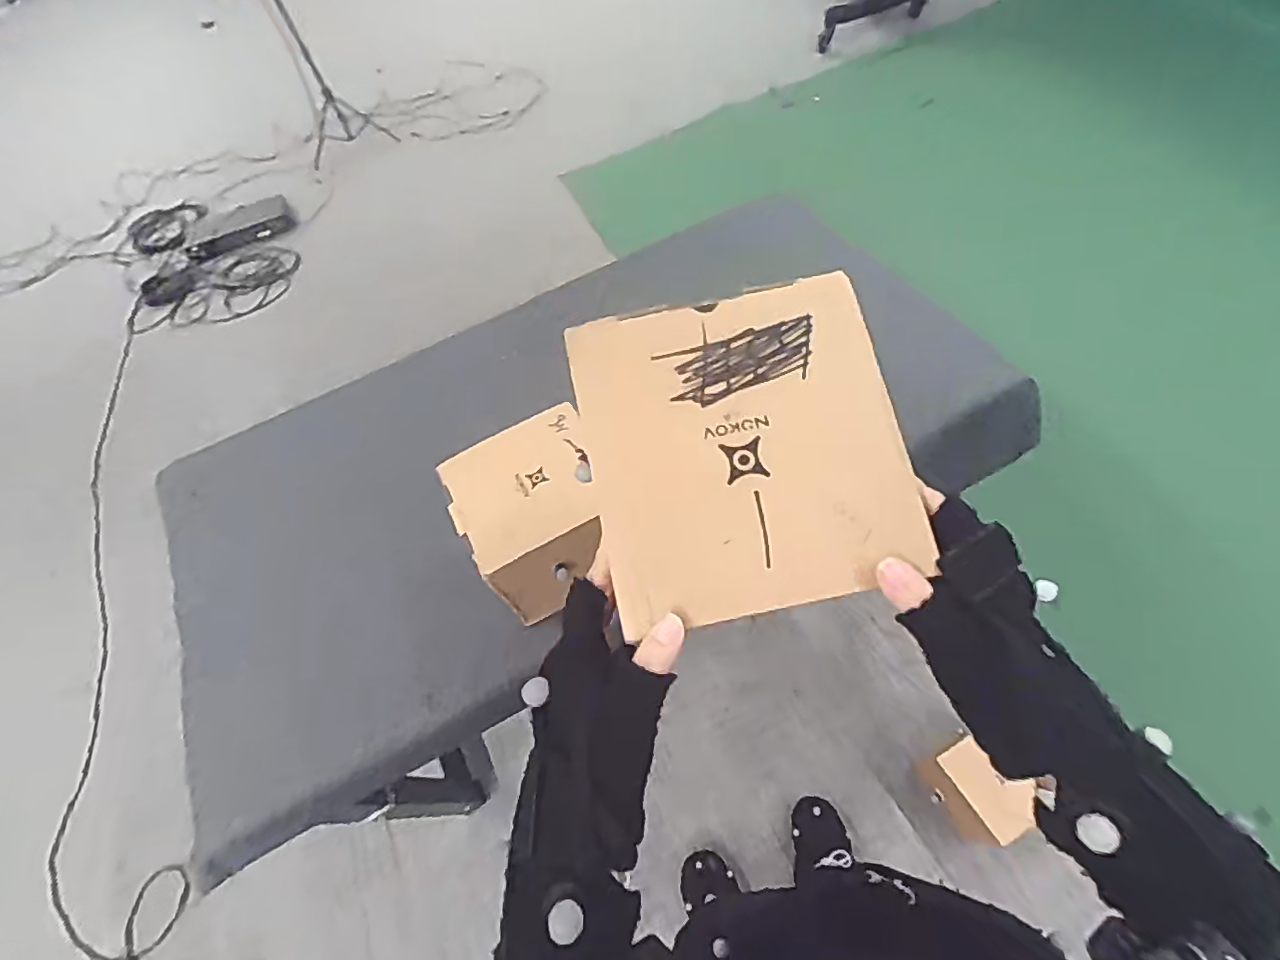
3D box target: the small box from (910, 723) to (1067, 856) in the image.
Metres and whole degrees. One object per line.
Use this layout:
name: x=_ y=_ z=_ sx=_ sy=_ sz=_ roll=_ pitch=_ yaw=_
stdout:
small box: x=0.685 y=0.619 z=1.089 sx=0.179 sy=0.176 sz=0.168 roll=-28 pitch=59 yaw=-9

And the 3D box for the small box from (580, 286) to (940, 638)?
small box: x=0.060 y=0.002 z=0.368 sx=0.168 sy=0.176 sz=0.179 roll=-10 pitch=78 yaw=0

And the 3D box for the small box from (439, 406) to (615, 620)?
small box: x=-0.114 y=0.047 z=0.671 sx=0.179 sy=0.176 sz=0.168 roll=-28 pitch=59 yaw=-10
